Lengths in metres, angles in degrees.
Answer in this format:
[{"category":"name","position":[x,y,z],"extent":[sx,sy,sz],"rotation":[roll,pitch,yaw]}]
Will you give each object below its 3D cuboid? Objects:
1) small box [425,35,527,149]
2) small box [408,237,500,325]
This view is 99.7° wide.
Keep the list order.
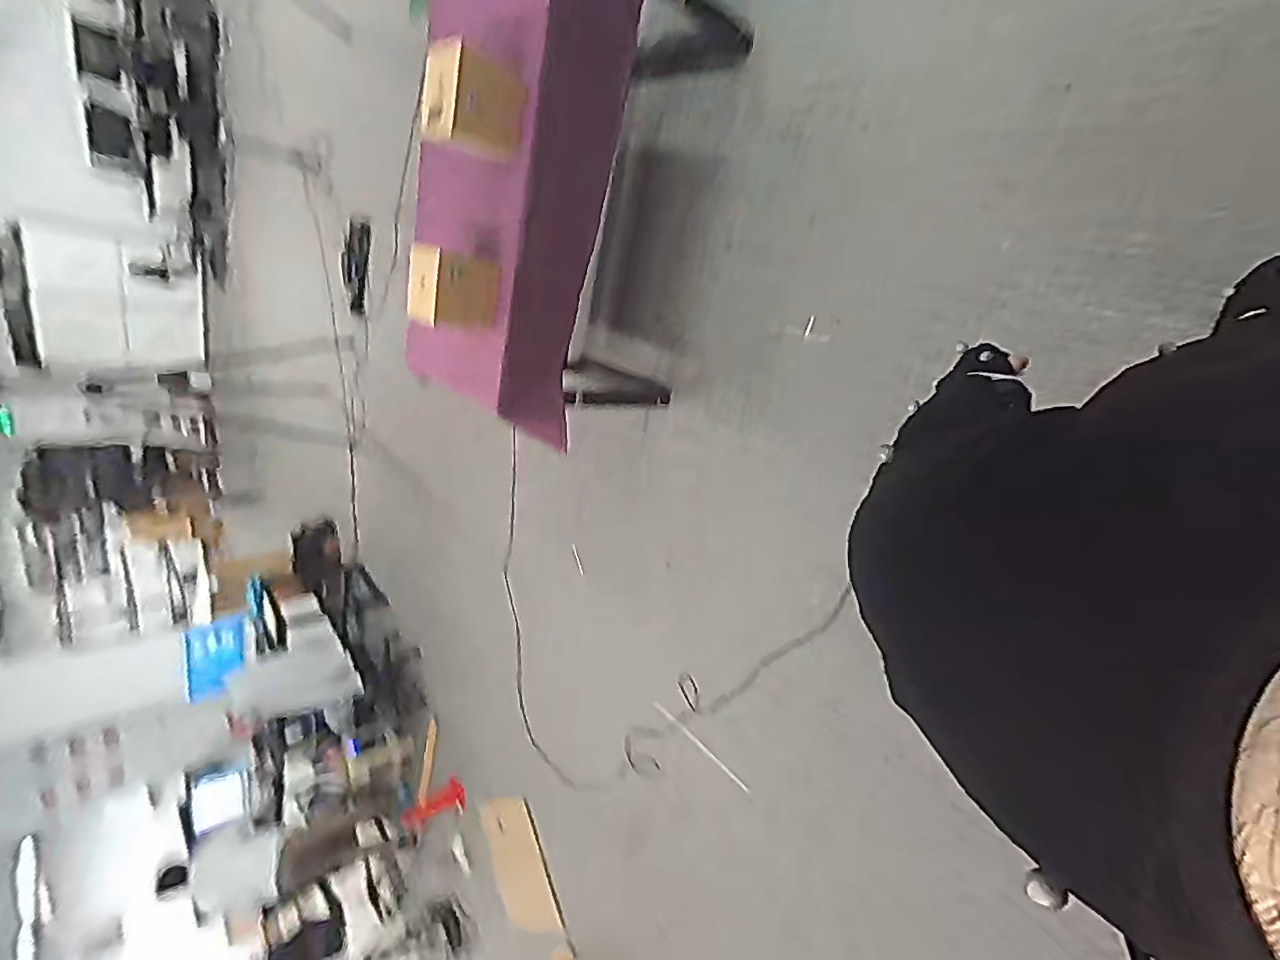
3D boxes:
[{"category":"small box","position":[-0.388,-0.908,1.282],"extent":[0.168,0.176,0.179],"rotation":[31,115,37]},{"category":"small box","position":[-0.489,-0.522,1.427],"extent":[0.168,0.176,0.179],"rotation":[29,114,39]}]
